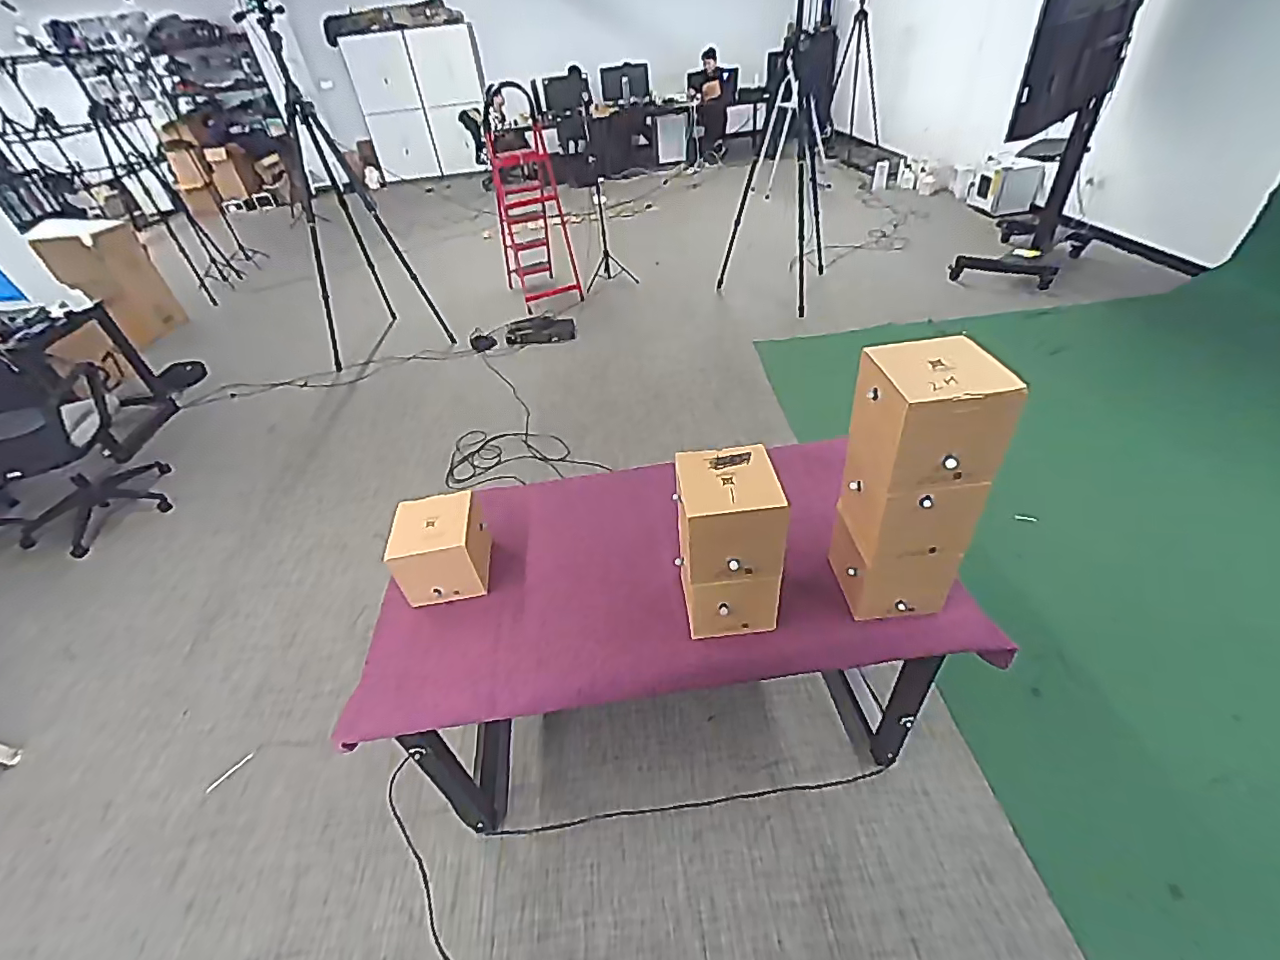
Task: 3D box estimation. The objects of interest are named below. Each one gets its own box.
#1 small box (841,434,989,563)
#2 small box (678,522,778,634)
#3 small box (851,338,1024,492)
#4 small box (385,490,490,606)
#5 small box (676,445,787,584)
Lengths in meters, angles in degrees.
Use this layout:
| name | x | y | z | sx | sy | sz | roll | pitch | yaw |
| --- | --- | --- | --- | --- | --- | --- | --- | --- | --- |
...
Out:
| name | x | y | z | sx | sy | sz | roll | pitch | yaw |
| --- | --- | --- | --- | --- | --- | --- | --- | --- | --- |
| small box | 0.470 | 0.024 | 0.961 | 0.168 | 0.176 | 0.179 | -7 | 39 | 3 |
| small box | 0.170 | 0.189 | 1.071 | 0.168 | 0.176 | 0.179 | -7 | 38 | 1 |
| small box | 0.452 | -0.104 | 0.859 | 0.168 | 0.176 | 0.179 | -7 | 40 | 2 |
| small box | -0.438 | 0.151 | 1.202 | 0.168 | 0.176 | 0.179 | -10 | 41 | -3 |
| small box | 0.156 | 0.061 | 0.969 | 0.168 | 0.176 | 0.179 | -7 | 39 | 1 |
